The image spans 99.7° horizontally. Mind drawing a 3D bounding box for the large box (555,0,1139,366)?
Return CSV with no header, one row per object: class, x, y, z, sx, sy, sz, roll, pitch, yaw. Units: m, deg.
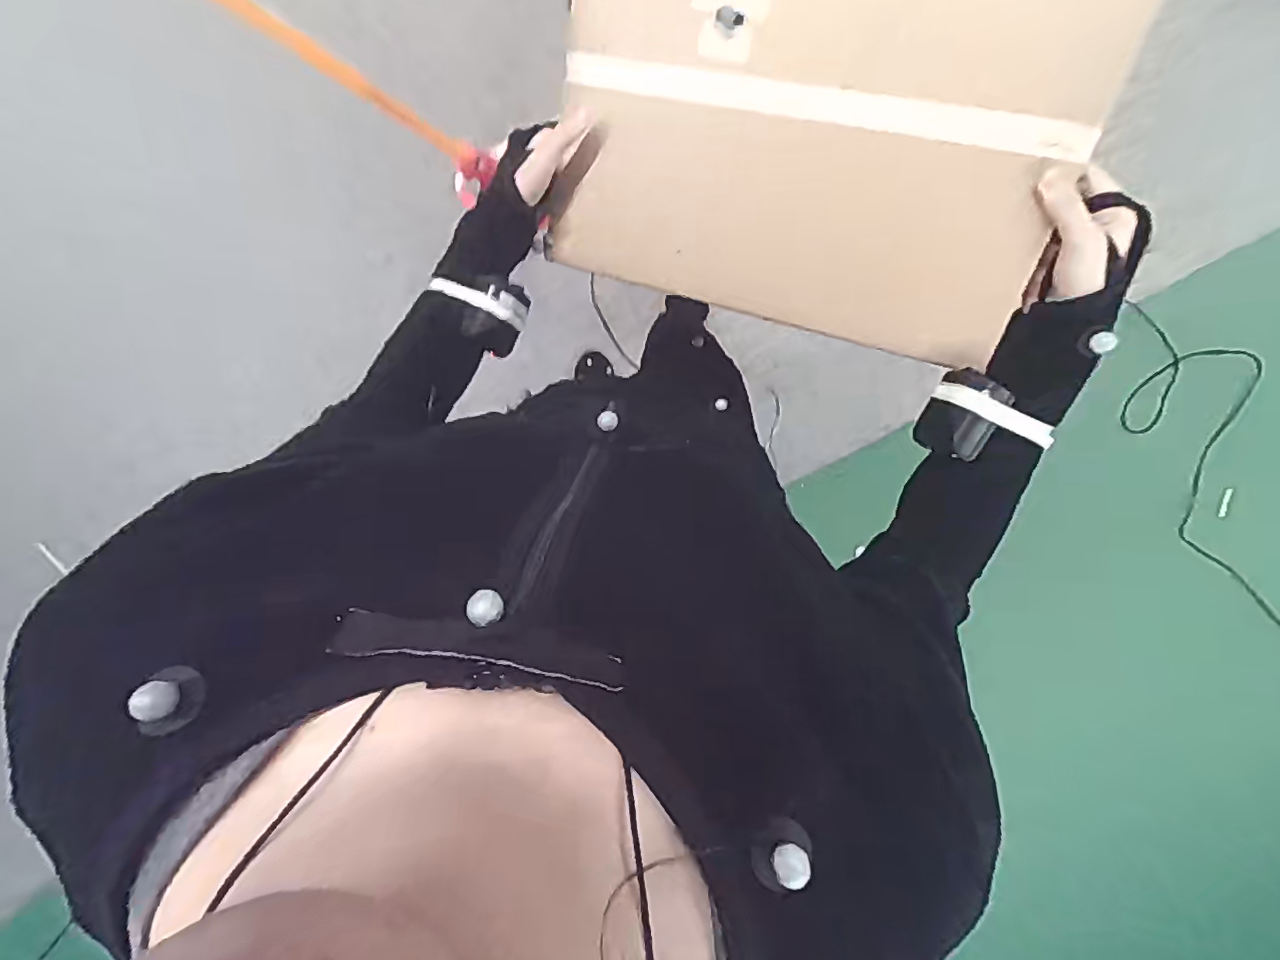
large box,0.180,-0.339,0.564,0.408,0.320,0.320,21,115,15
